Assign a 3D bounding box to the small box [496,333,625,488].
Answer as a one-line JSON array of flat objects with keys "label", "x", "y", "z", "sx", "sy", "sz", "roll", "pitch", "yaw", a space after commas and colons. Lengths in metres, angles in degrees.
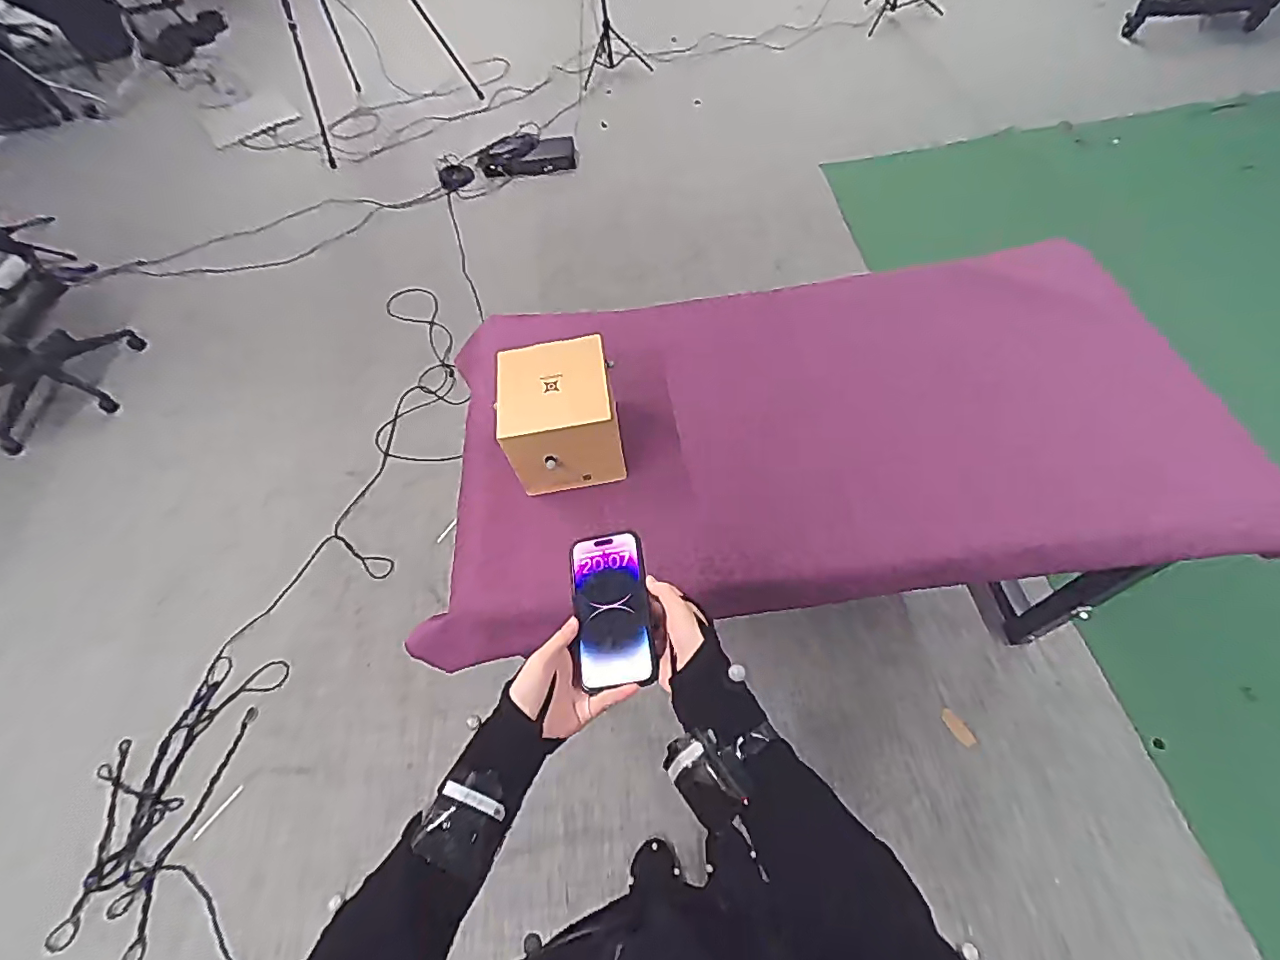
[{"label": "small box", "x": -0.123, "y": -0.101, "z": 0.864, "sx": 0.168, "sy": 0.176, "sz": 0.179, "roll": -10, "pitch": 56, "yaw": 1}]
